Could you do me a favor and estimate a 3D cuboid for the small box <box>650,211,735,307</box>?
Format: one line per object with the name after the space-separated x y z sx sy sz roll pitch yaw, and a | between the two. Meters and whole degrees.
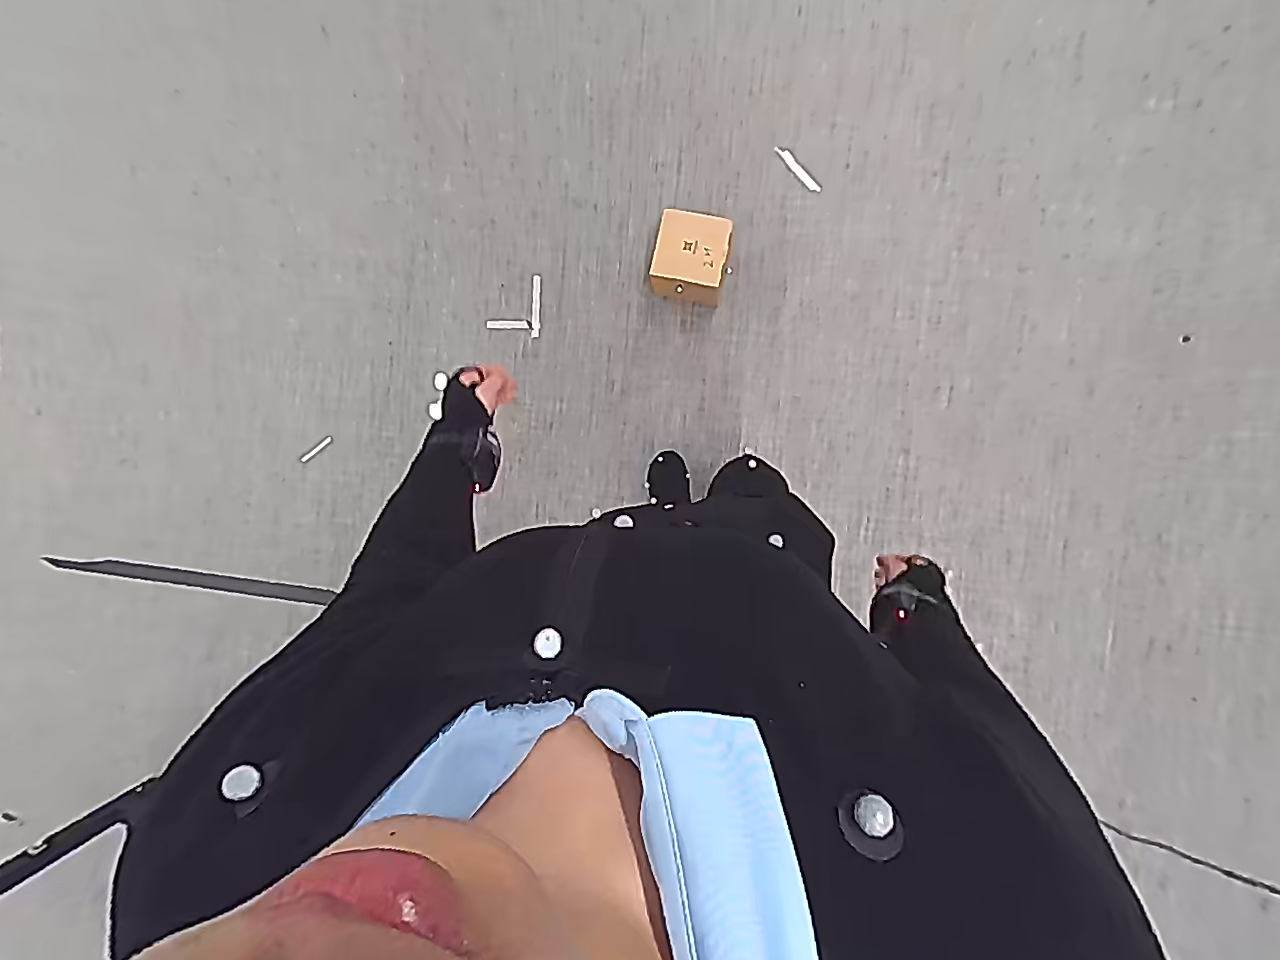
0.137 -0.558 1.388 0.179 0.176 0.168 14 94 7 | small box
